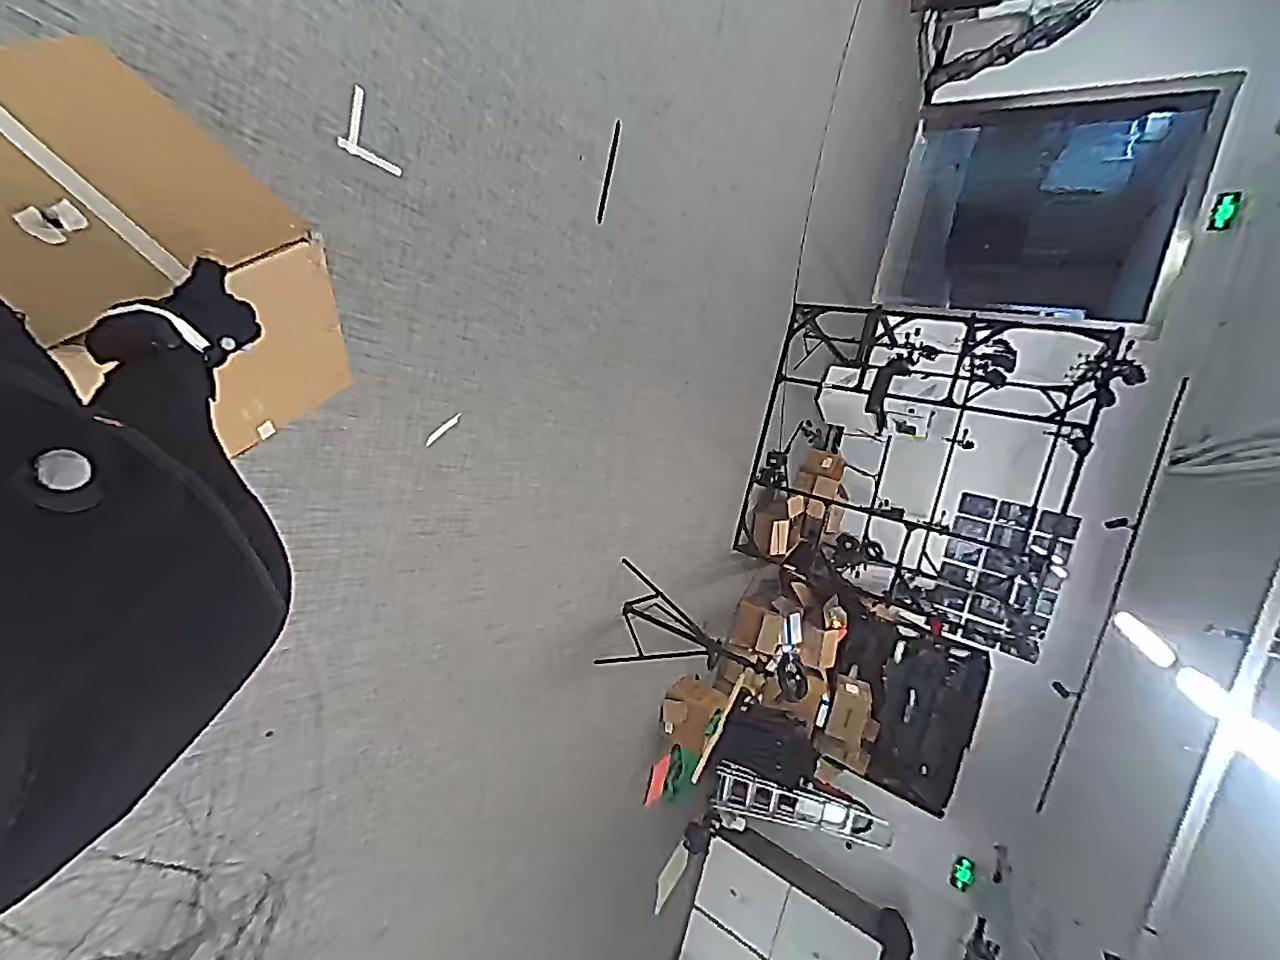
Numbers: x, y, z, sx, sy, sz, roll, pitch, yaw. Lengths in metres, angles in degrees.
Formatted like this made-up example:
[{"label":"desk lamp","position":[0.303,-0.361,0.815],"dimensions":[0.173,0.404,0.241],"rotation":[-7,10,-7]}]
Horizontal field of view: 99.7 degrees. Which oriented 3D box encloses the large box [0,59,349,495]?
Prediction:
[{"label":"large box","position":[-0.681,-0.258,0.729],"dimensions":[0.320,0.408,0.320],"rotation":[-48,177,-32]}]
